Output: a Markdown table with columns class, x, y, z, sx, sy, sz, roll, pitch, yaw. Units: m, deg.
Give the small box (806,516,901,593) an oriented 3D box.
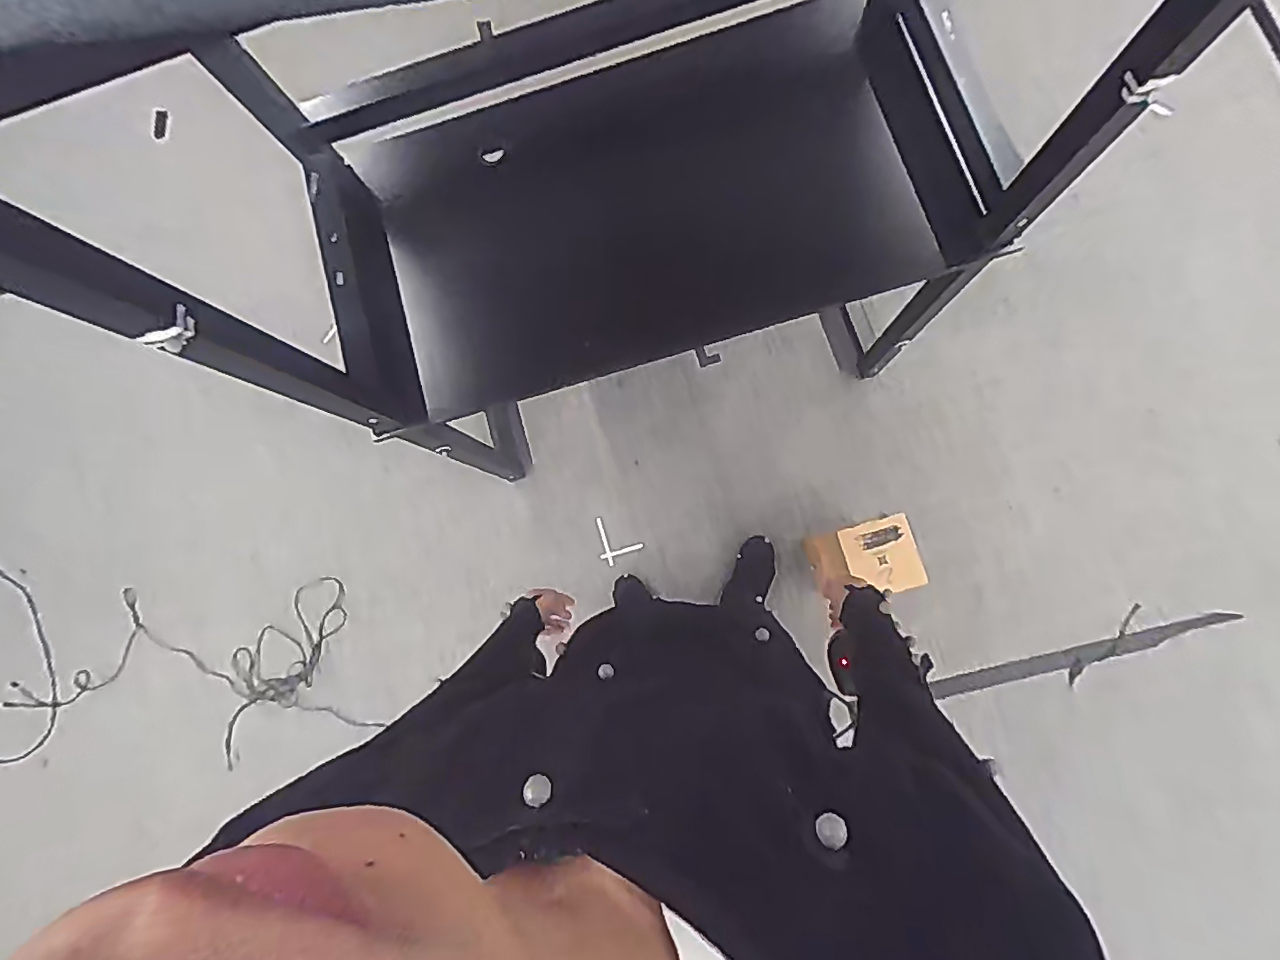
| class | x | y | z | sx | sy | sz | roll | pitch | yaw |
| --- | --- | --- | --- | --- | --- | --- | --- | --- | --- |
| small box | 0.585 | 0.205 | 1.503 | 0.179 | 0.176 | 0.168 | -18 | 81 | 4 |
